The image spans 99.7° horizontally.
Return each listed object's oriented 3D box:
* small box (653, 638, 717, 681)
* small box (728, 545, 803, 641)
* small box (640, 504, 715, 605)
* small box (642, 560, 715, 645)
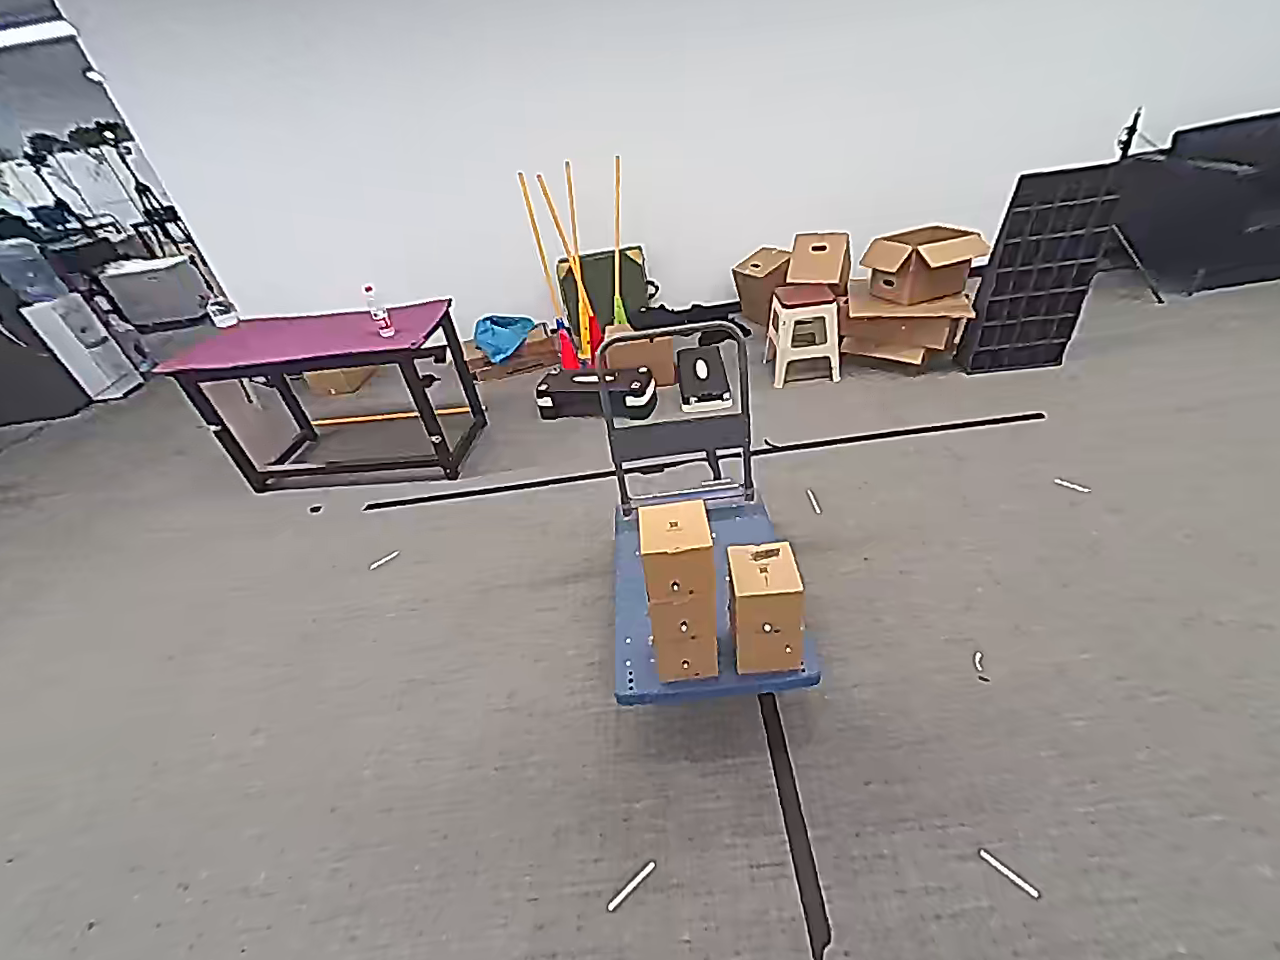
[{"bbox_3d":[0.124,0.449,1.526,0.168,0.176,0.179,-7,35,1],"label":"small box"},{"bbox_3d":[0.321,0.295,1.413,0.168,0.176,0.179,-6,36,4],"label":"small box"},{"bbox_3d":[0.091,0.183,1.336,0.168,0.176,0.179,-7,36,2],"label":"small box"},{"bbox_3d":[0.102,0.317,1.429,0.168,0.176,0.179,-8,37,0],"label":"small box"}]
